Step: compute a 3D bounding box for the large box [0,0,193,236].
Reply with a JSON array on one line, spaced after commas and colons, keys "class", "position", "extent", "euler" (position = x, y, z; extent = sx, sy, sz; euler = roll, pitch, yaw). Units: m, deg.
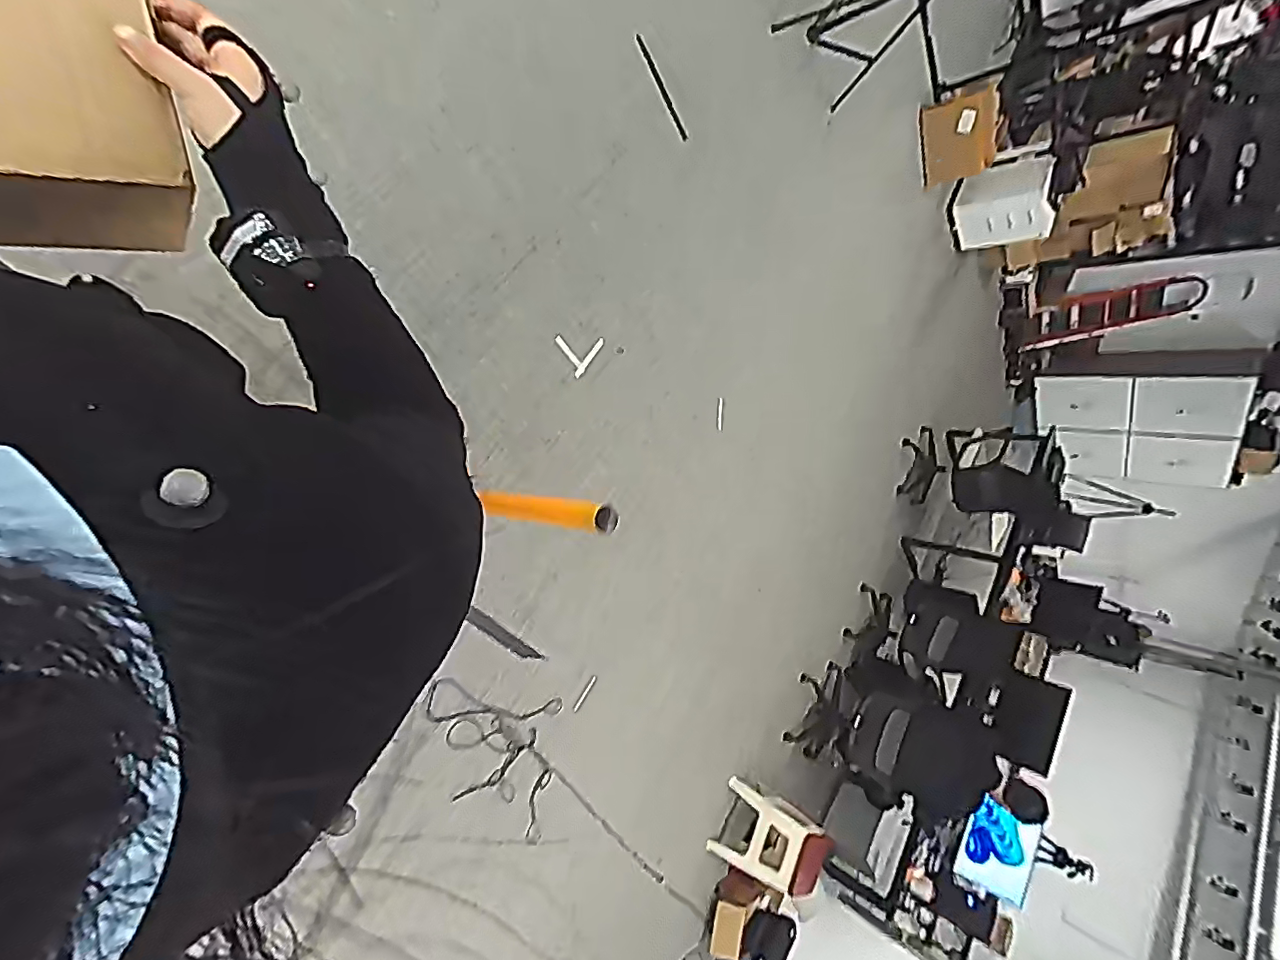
[{"class": "large box", "position": [-0.600, -0.357, 0.364], "extent": [0.408, 0.320, 0.320], "euler": [-17, 109, -37]}]
